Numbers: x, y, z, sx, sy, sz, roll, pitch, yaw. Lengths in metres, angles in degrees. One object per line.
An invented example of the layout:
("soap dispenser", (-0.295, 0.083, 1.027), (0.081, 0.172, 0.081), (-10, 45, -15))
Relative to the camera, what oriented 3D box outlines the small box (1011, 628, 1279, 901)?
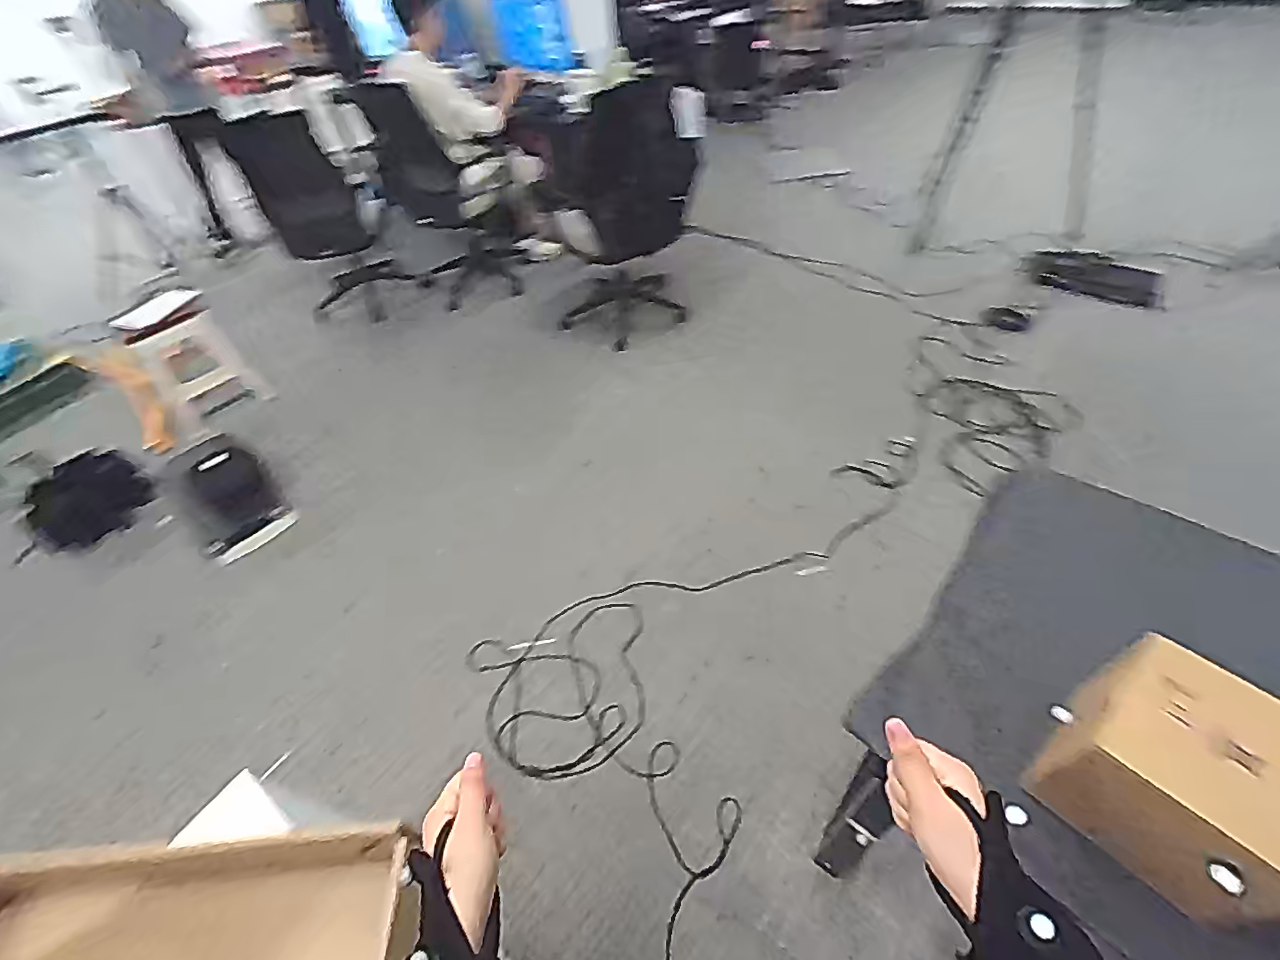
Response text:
("small box", (0.546, 0.300, 0.571), (0.168, 0.176, 0.179), (-37, 54, -23))
